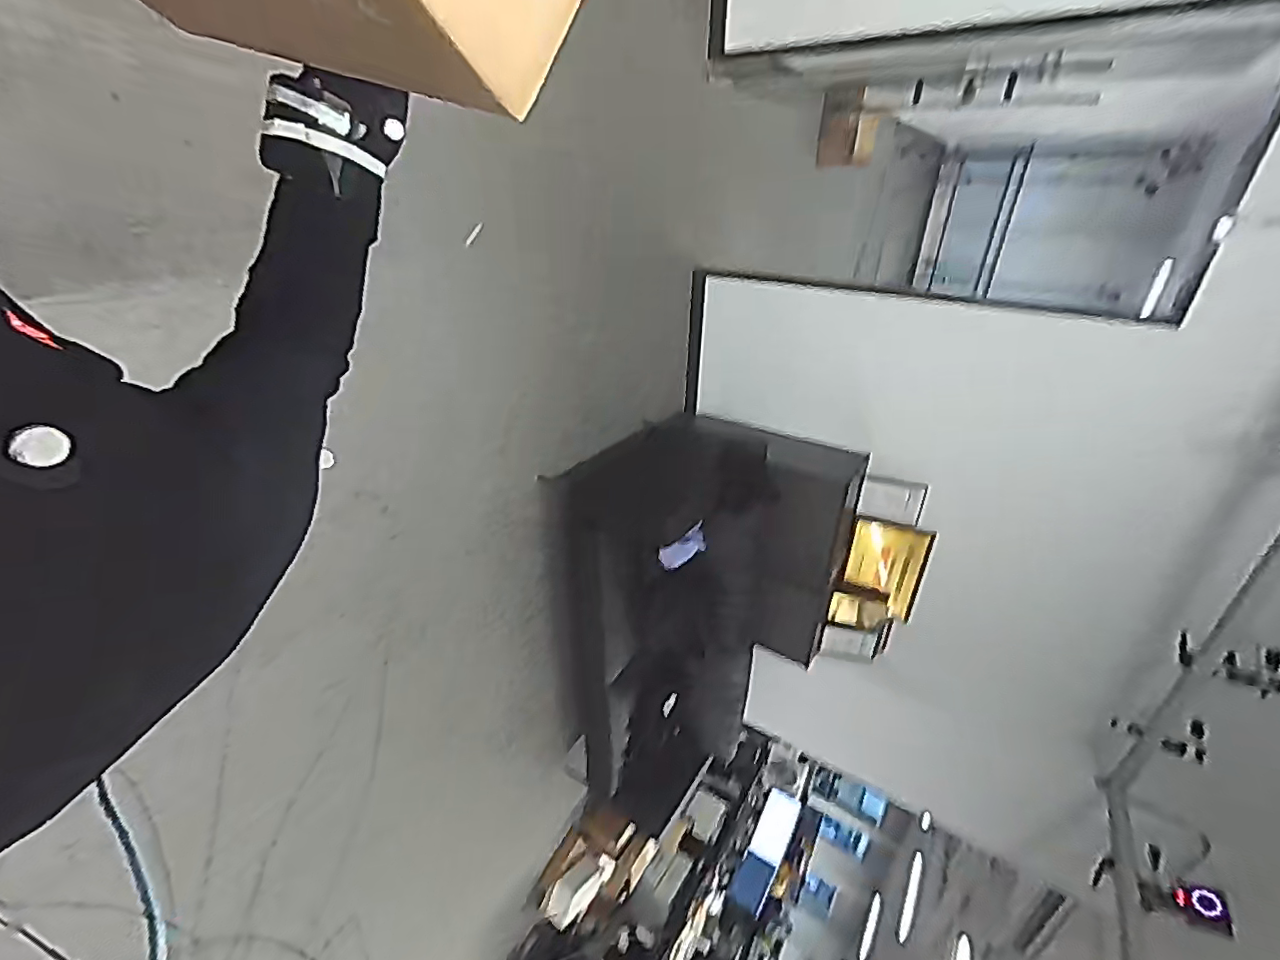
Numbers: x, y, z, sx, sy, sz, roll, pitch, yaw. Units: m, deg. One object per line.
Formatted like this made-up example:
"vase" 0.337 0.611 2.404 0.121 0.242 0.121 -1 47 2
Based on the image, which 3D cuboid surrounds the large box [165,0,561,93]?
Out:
"large box" -0.196 -0.411 0.134 0.320 0.320 0.408 -64 161 5
